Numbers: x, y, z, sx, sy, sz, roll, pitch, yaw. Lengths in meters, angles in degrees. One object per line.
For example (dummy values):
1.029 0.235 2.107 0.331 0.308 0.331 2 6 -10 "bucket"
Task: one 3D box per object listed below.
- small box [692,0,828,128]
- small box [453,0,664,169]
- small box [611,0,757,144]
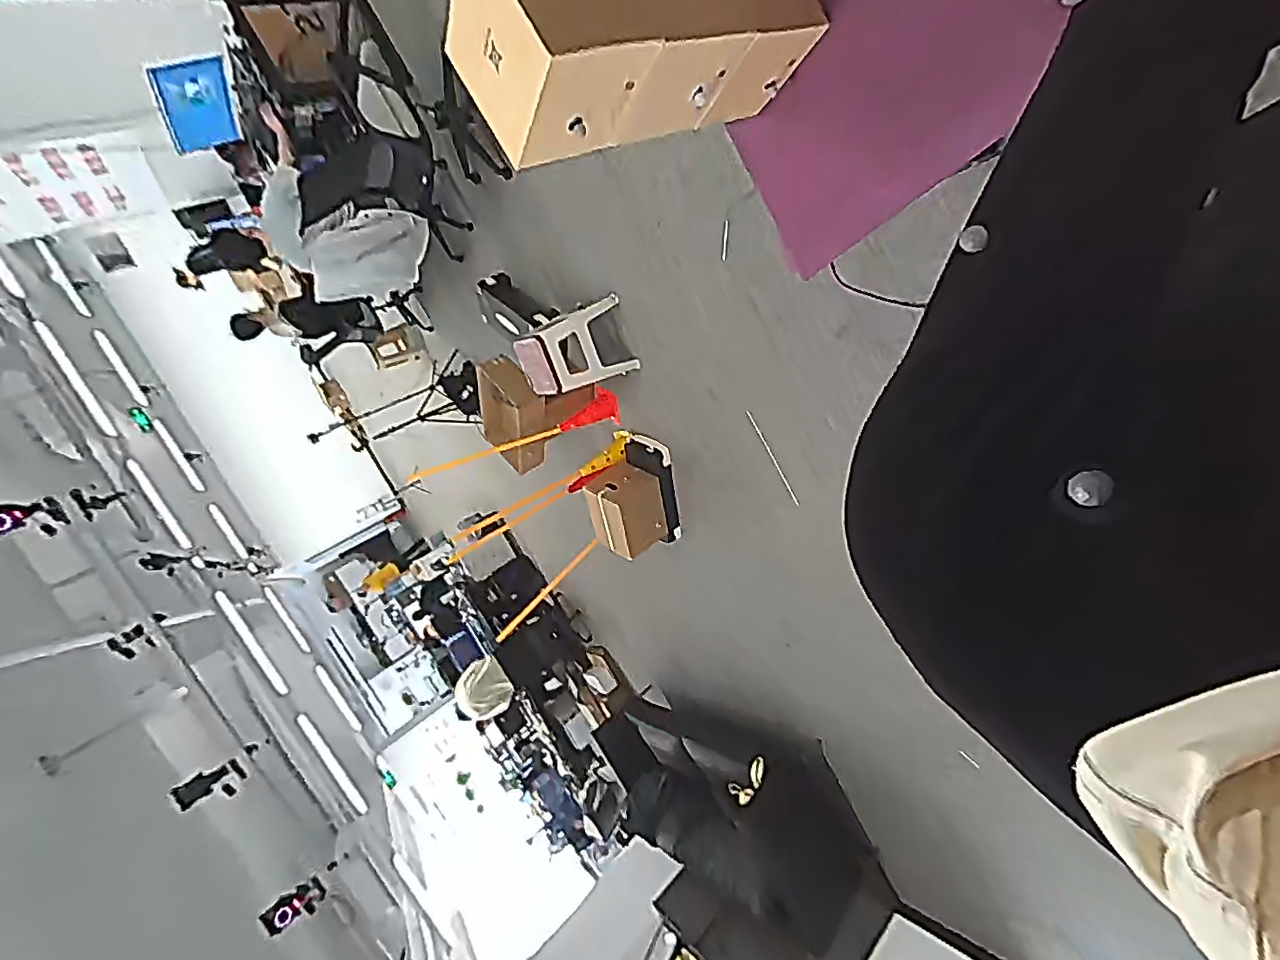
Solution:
0.143 -0.678 0.815 0.179 0.176 0.168 59 152 -4 "small box"
-0.100 -0.526 0.658 0.179 0.176 0.168 60 152 -2 "small box"
0.021 -0.602 0.735 0.179 0.176 0.168 59 152 -3 "small box"
